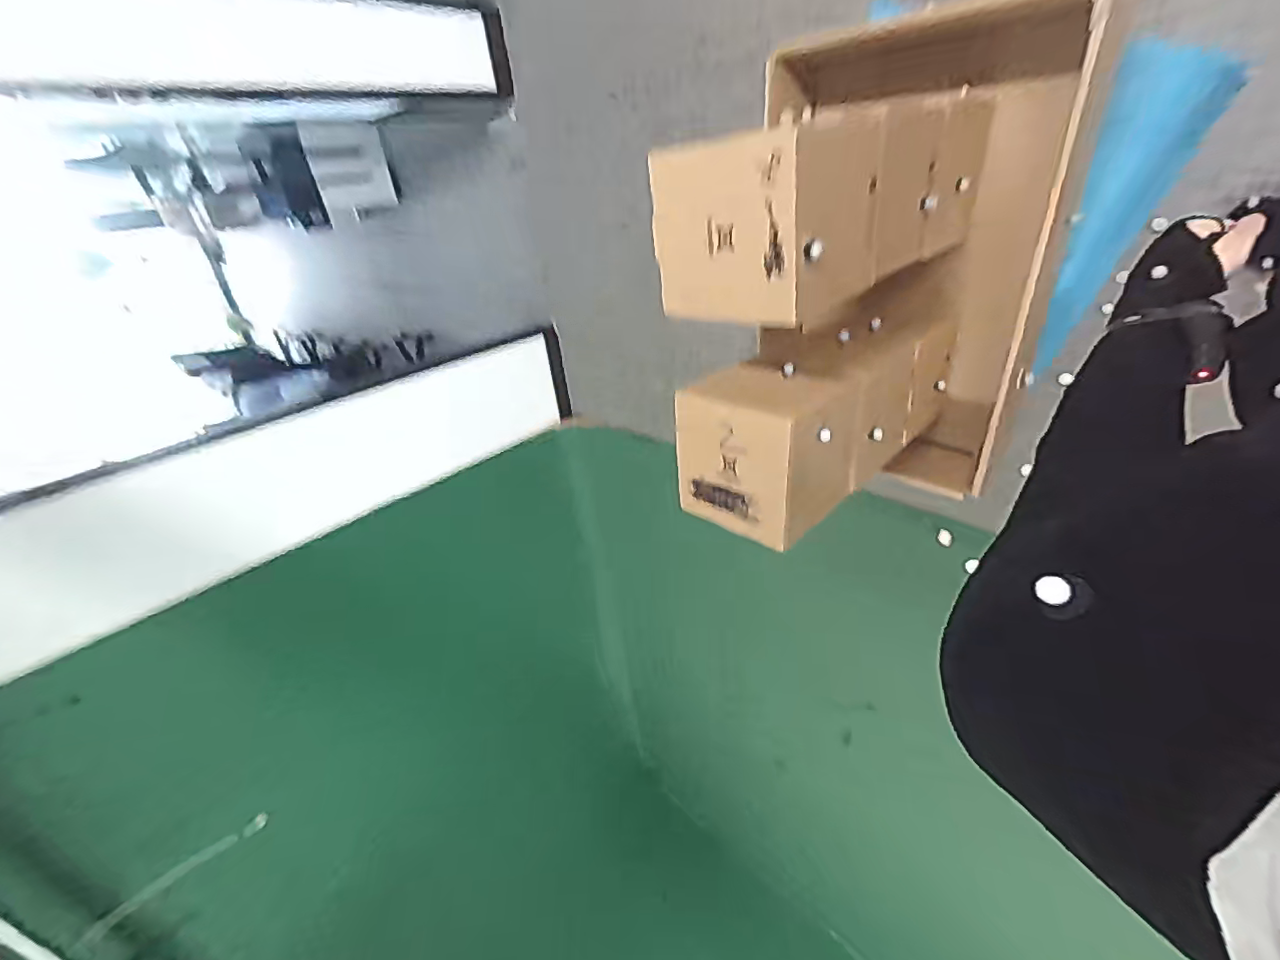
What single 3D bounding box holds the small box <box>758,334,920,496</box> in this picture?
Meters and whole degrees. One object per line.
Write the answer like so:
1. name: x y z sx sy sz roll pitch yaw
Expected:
1. small box: 0.294 -0.105 0.805 0.168 0.176 0.179 21 128 41
